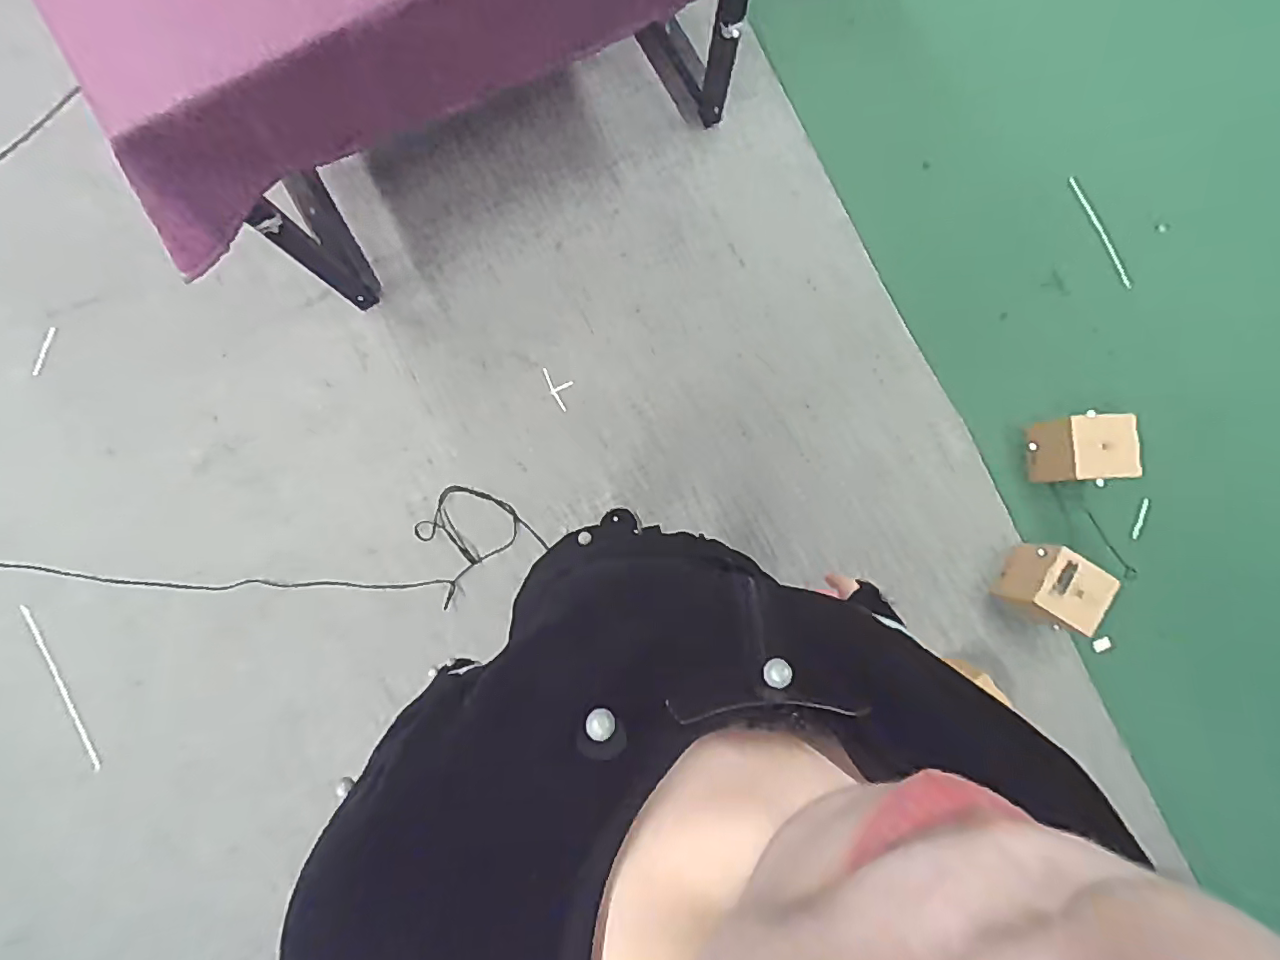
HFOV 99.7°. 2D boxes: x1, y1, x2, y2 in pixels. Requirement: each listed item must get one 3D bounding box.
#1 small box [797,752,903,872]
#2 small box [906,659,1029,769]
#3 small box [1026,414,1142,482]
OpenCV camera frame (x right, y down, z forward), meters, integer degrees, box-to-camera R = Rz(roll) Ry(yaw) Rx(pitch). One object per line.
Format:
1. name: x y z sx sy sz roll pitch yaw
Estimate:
1. small box: 0.521 0.835 1.378 0.179 0.176 0.168 -25 88 -3
2. small box: 0.837 0.594 1.403 0.179 0.176 0.168 -38 88 -3
3. small box: 1.193 -0.082 1.462 0.179 0.176 0.168 -2 86 -2
